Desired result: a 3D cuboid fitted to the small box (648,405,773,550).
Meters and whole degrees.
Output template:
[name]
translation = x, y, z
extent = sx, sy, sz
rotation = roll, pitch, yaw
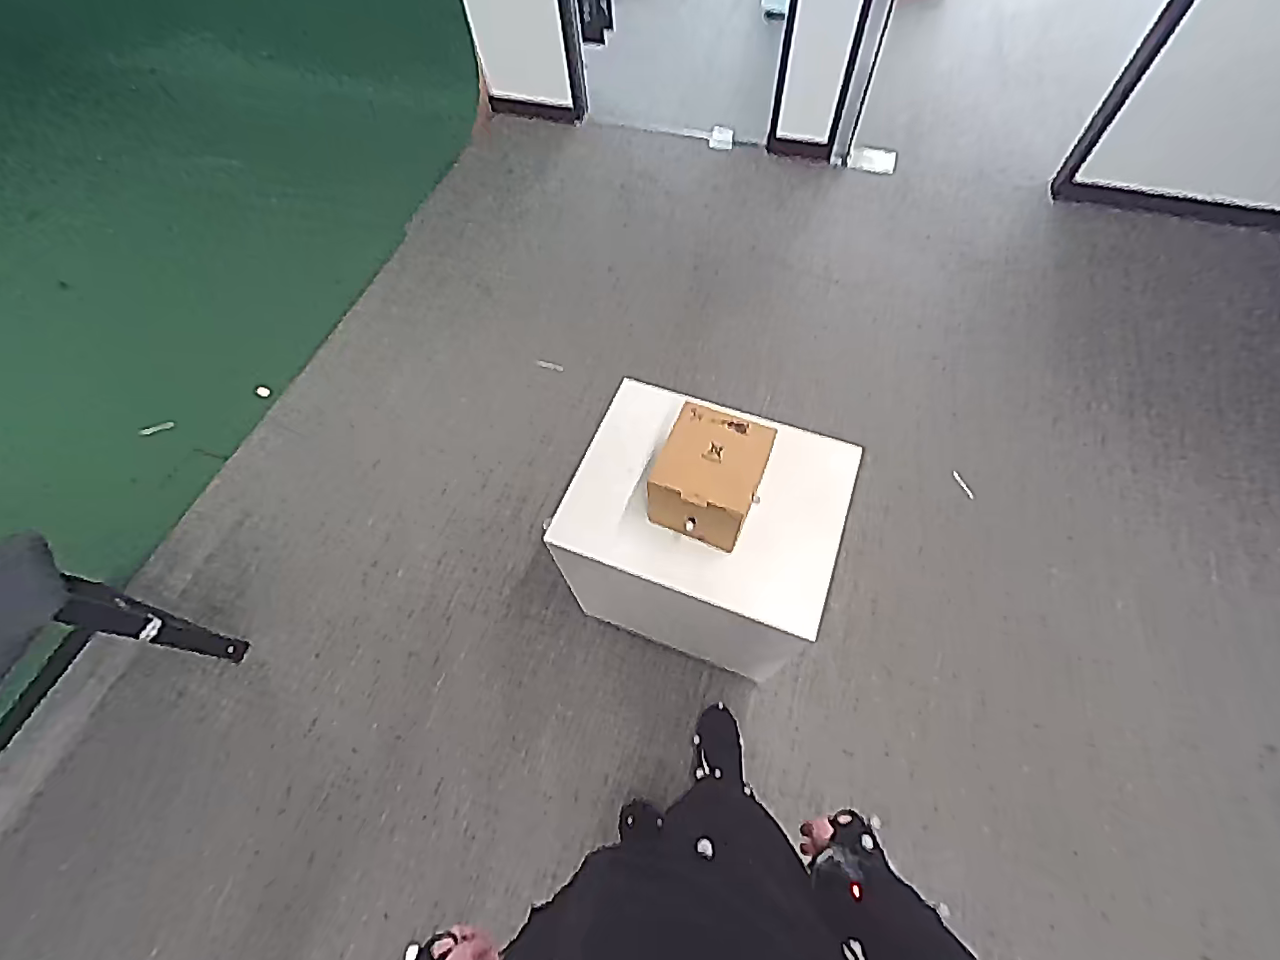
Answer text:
[small box]
translation = 0.124, 0.002, 0.957
extent = 0.168, 0.176, 0.179
rotation = 18, 64, 12
